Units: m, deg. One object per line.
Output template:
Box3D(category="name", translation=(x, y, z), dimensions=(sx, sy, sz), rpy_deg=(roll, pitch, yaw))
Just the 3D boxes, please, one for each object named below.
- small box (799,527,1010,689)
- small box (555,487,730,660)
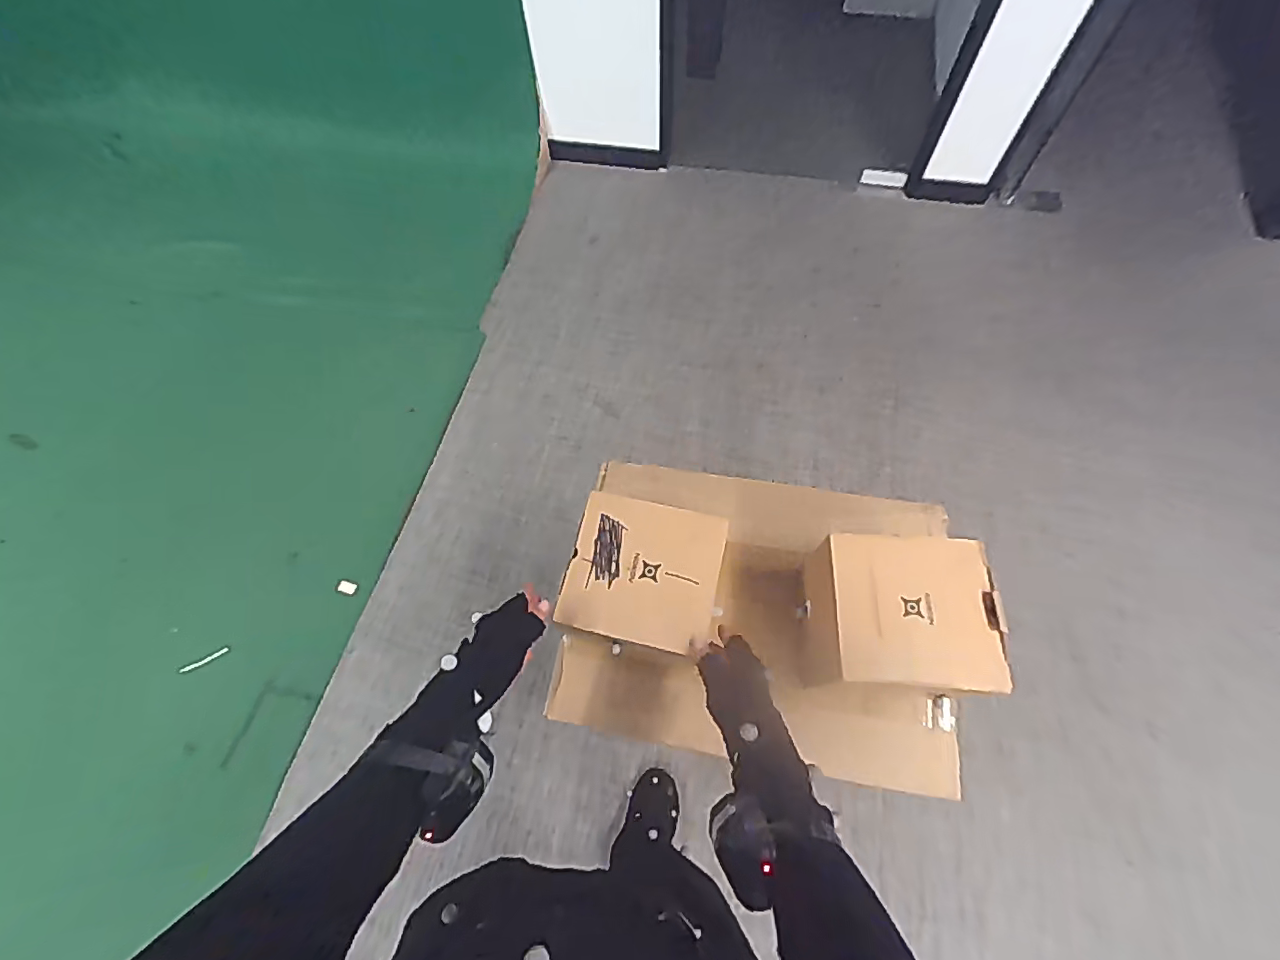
Box3D(category="small box", translation=(0.306, 0.164, 0.668), dimensions=(0.179, 0.176, 0.168), rpy_deg=(1, 66, 5))
Box3D(category="small box", translation=(0.011, 0.128, 0.700), dimensions=(0.179, 0.176, 0.168), rpy_deg=(11, 68, 8))
